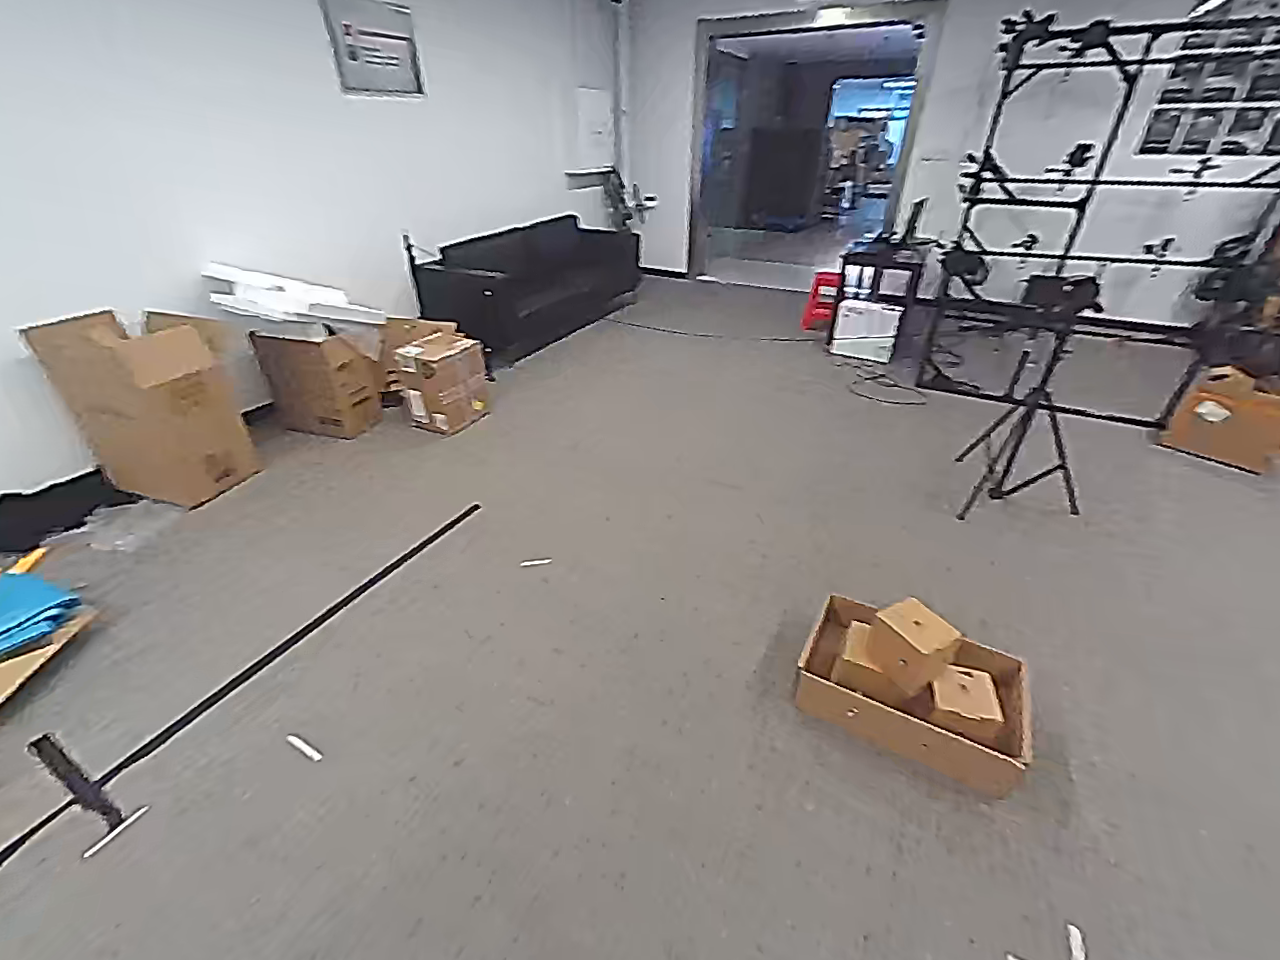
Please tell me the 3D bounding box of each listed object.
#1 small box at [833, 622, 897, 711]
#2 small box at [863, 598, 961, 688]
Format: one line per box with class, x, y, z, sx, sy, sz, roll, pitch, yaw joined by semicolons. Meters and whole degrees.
small box;0.730;0.597;1.736;0.168;0.176;0.179;16;36;22
small box;0.800;0.488;1.605;0.168;0.176;0.179;-14;34;-25
